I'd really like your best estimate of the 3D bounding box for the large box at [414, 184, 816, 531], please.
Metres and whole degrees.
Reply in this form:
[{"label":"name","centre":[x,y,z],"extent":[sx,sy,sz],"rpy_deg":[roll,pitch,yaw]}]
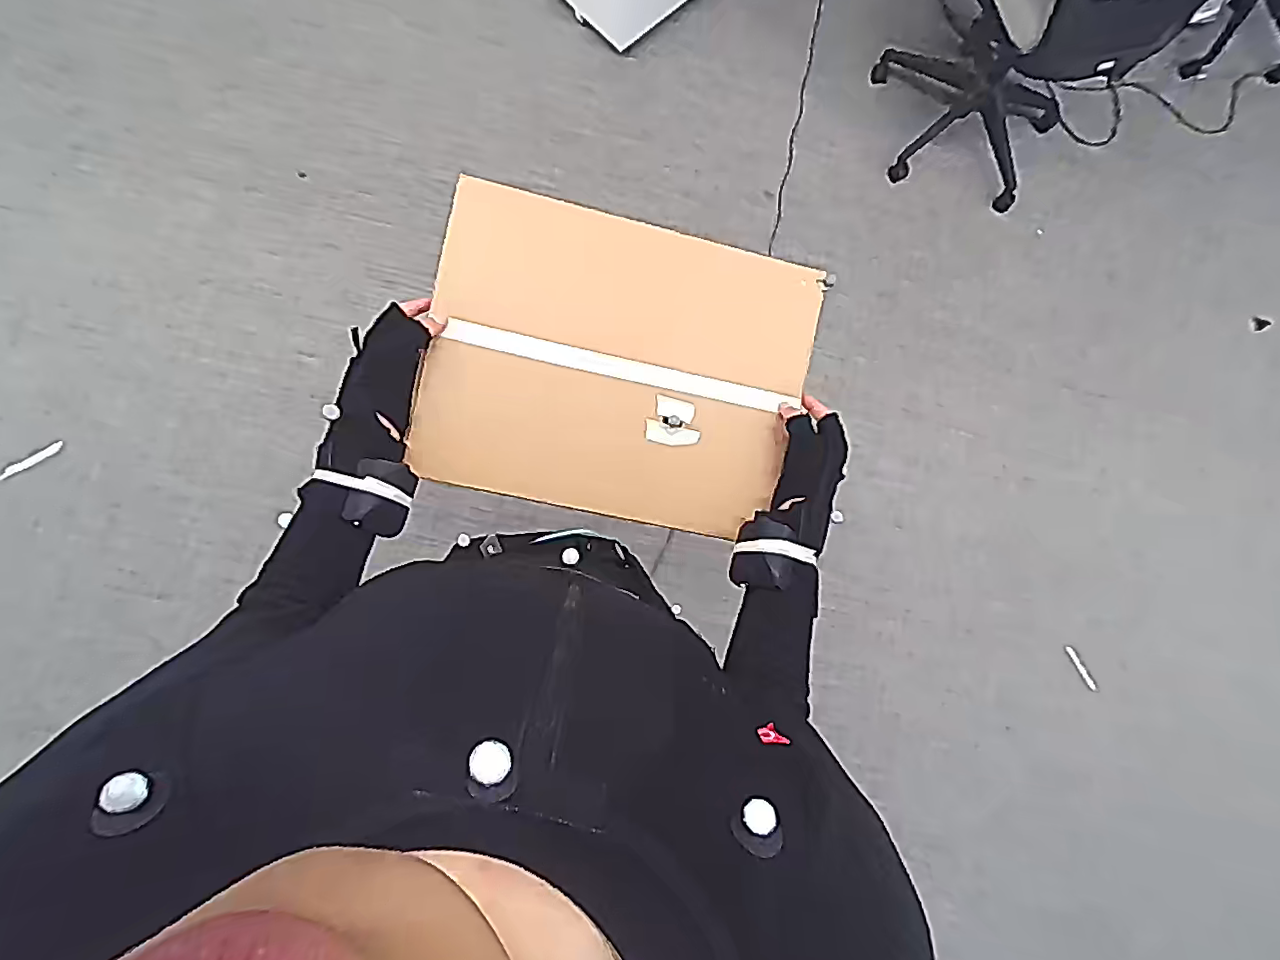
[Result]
[{"label":"large box","centre":[-0.039,-0.131,0.739],"extent":[0.408,0.320,0.320],"rpy_deg":[12,91,-7]}]
